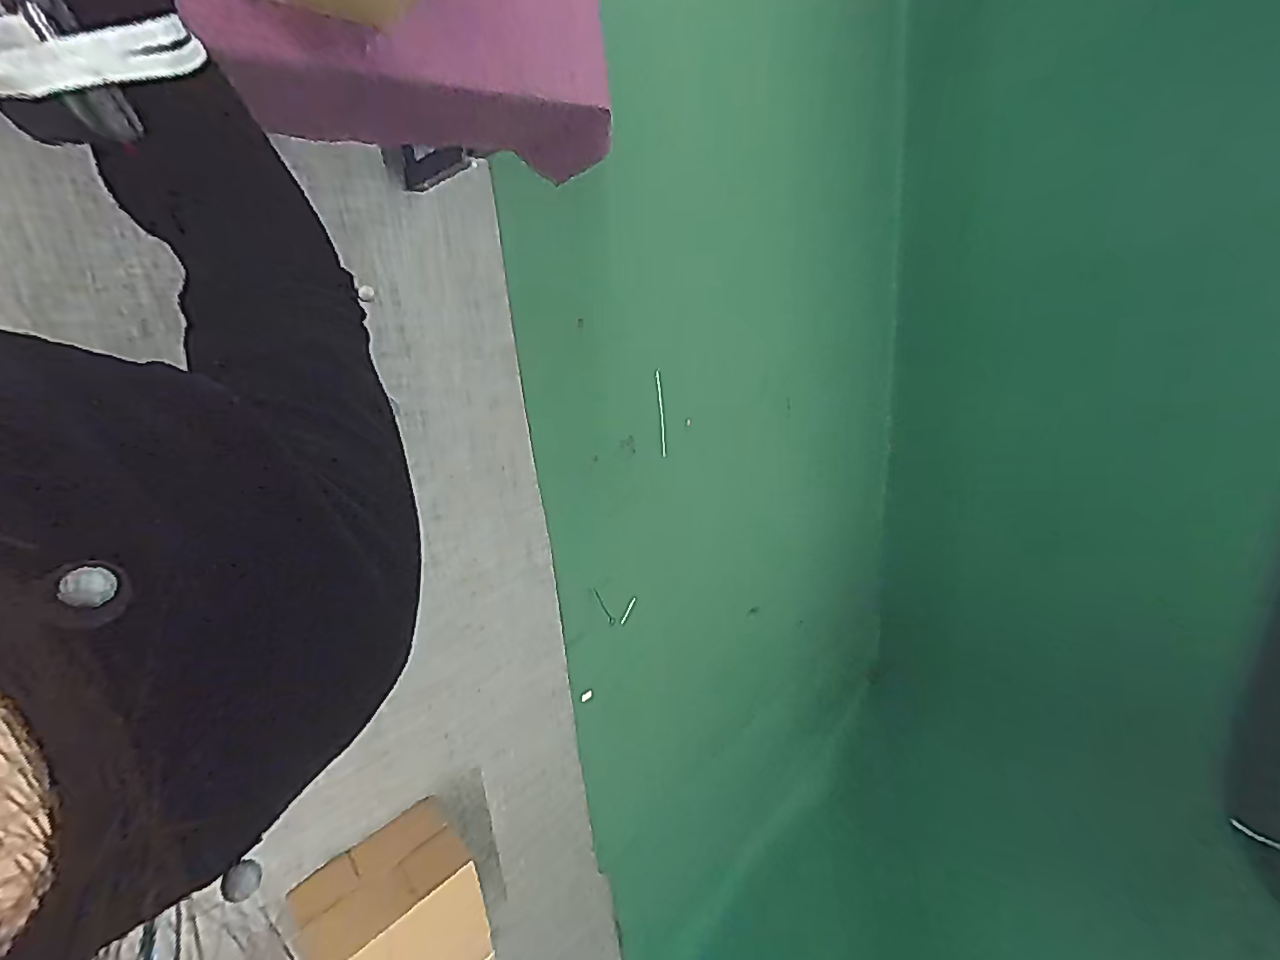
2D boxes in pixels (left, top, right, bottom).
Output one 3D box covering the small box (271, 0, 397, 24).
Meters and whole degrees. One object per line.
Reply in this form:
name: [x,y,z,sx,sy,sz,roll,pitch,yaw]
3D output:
small box: [-0.350,-0.630,0.572,0.179,0.176,0.168,-24,114,-42]
